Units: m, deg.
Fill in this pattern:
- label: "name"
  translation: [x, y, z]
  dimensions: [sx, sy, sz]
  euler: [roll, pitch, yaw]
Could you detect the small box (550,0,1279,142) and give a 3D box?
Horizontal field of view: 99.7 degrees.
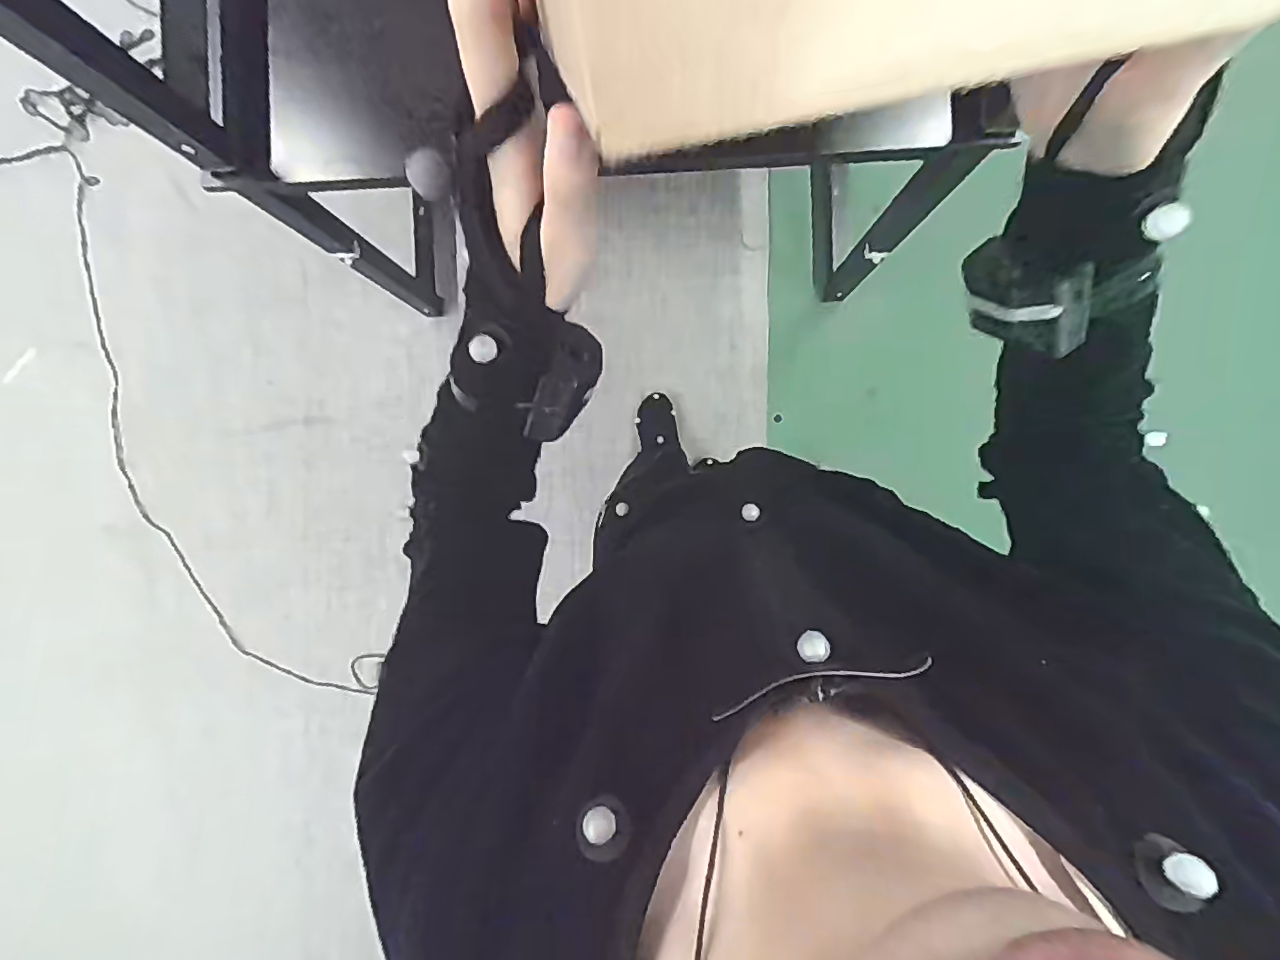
- label: "small box"
  translation: [0.046, -0.206, 0.117]
  dimensions: [0.168, 0.176, 0.179]
  euler: [-13, 135, -2]
